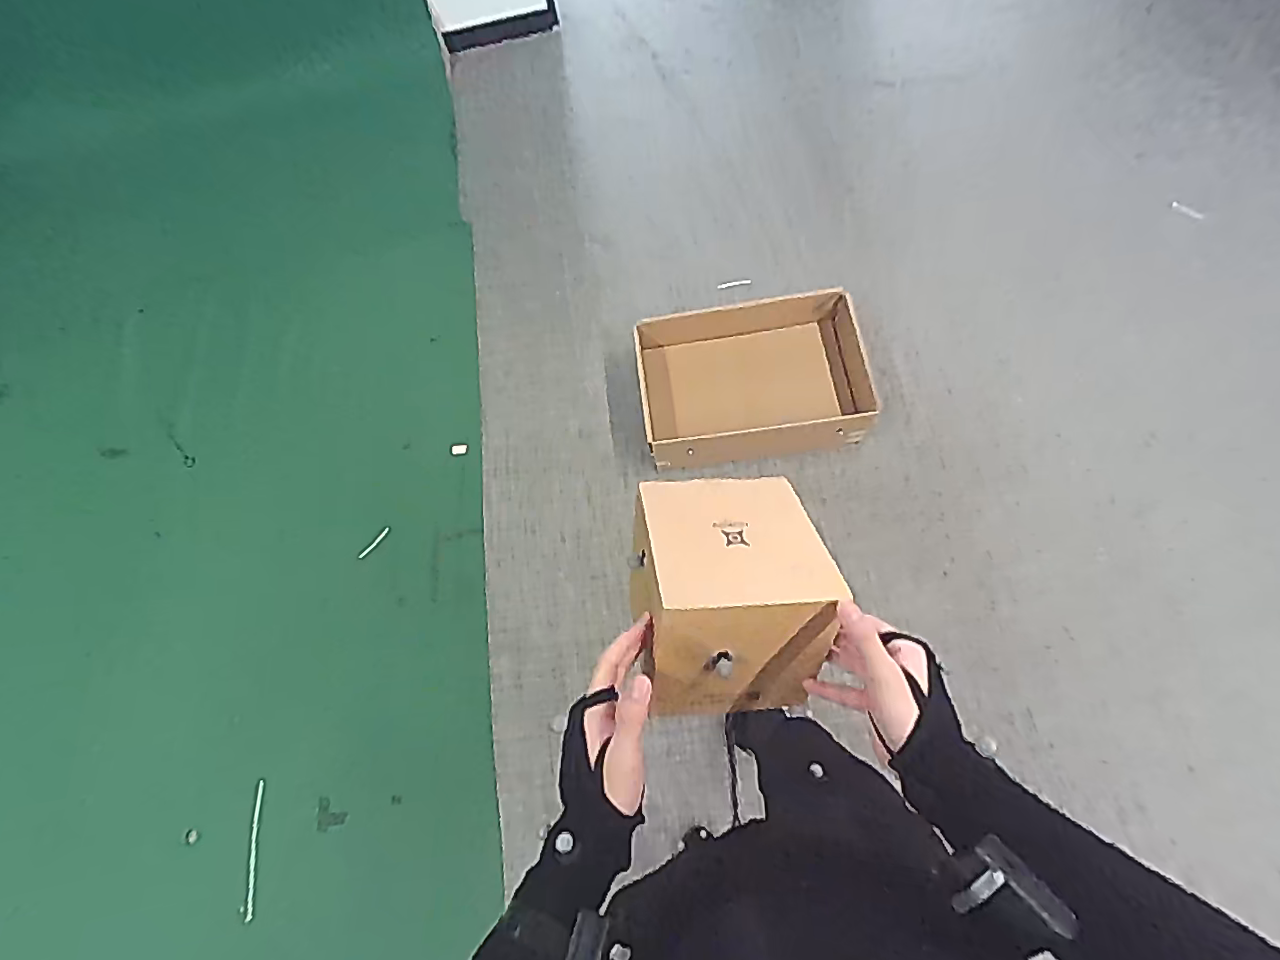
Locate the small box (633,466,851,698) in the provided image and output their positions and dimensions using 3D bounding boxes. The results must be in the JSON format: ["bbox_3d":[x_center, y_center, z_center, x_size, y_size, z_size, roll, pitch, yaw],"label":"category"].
[{"bbox_3d":[0.085,0.104,0.553,0.168,0.176,0.179,-2,36,-8],"label":"small box"}]
